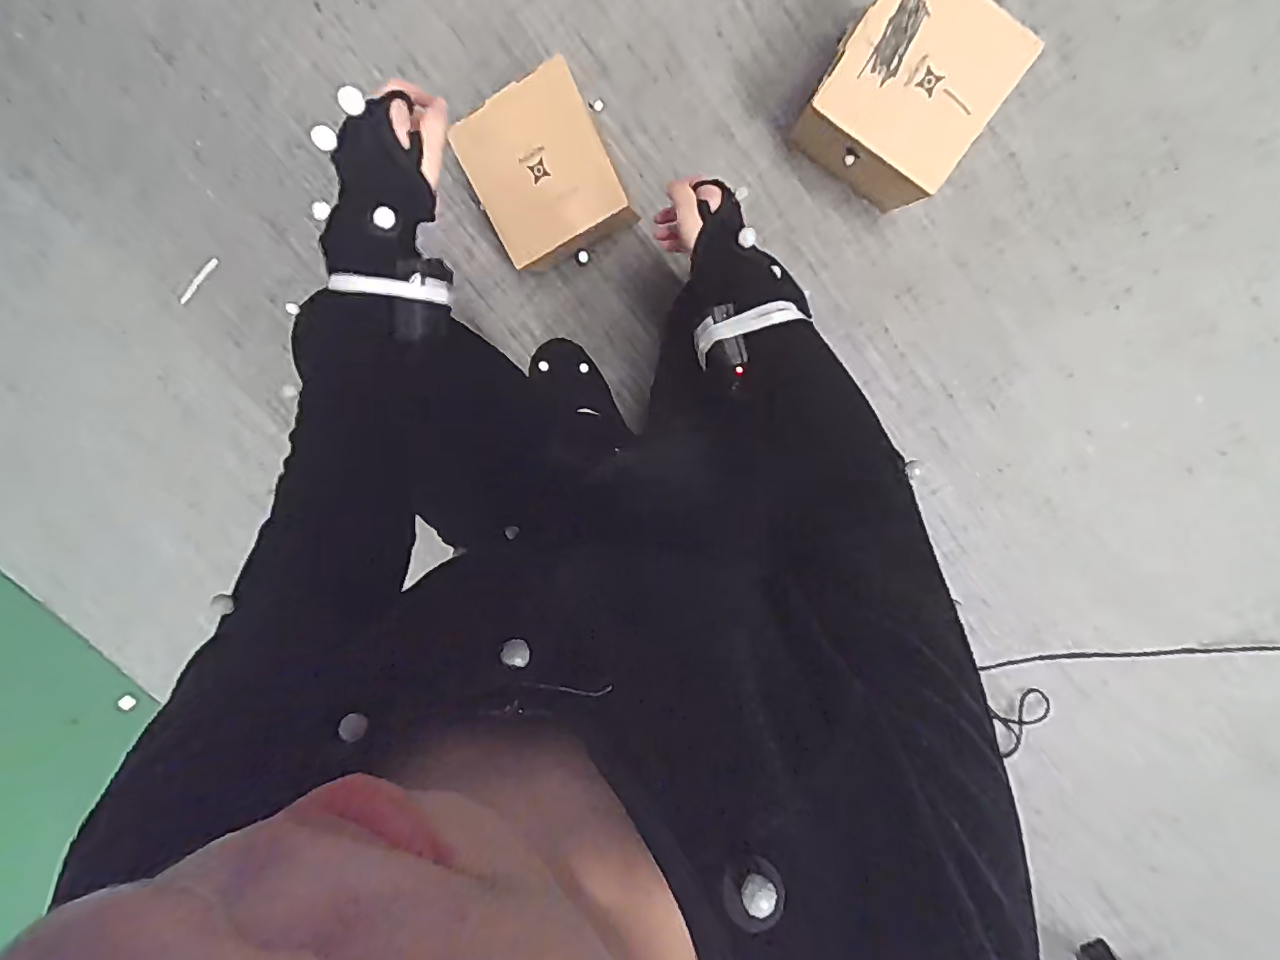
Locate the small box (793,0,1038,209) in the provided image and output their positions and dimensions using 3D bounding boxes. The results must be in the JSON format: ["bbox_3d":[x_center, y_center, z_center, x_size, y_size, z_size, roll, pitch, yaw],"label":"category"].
[{"bbox_3d":[0.310,-0.456,0.657,0.179,0.176,0.168,32,110,-6],"label":"small box"}]
